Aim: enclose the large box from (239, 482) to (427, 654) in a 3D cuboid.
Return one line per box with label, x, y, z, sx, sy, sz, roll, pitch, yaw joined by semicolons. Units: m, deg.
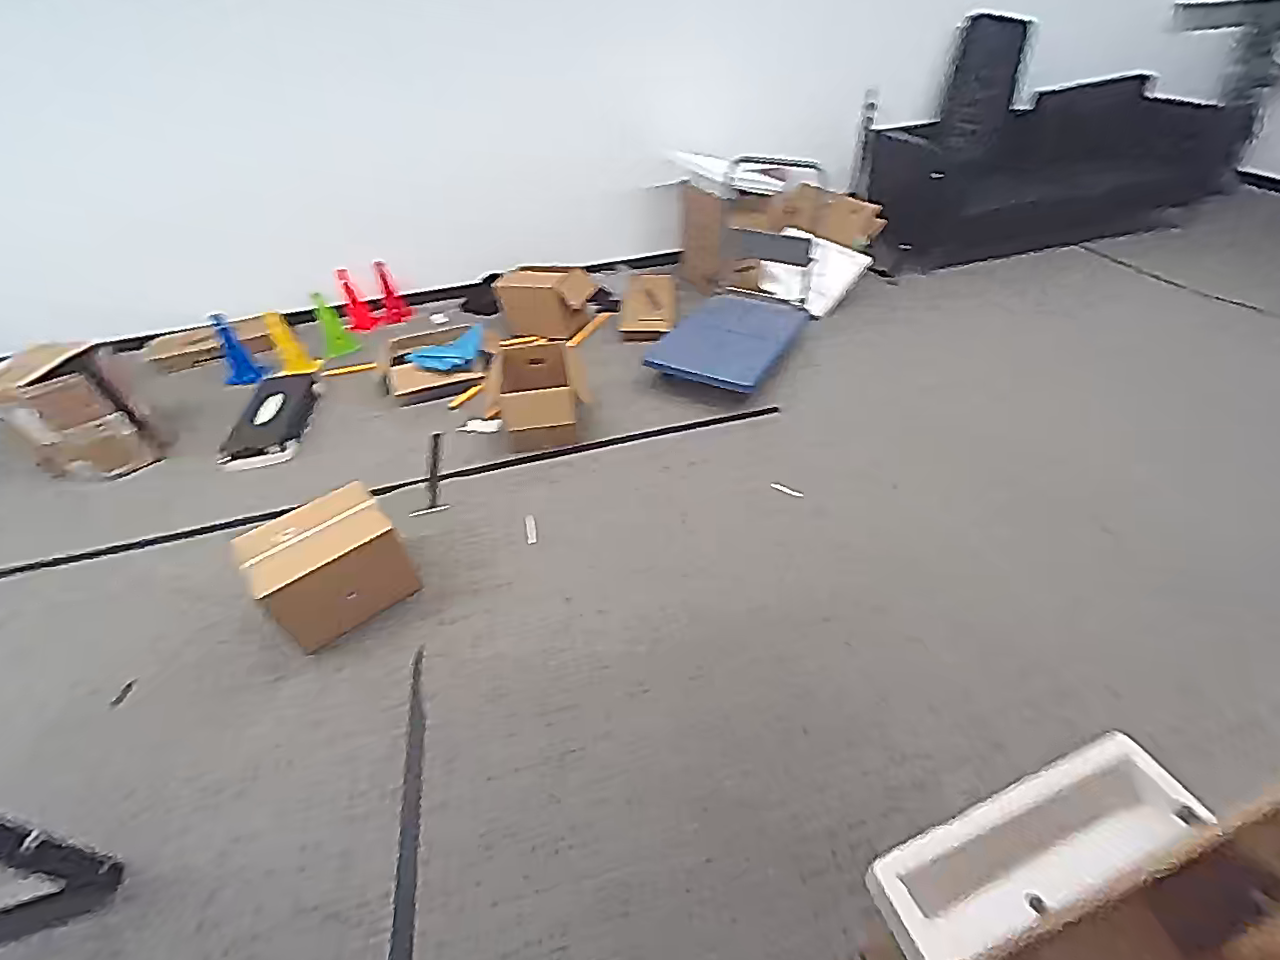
large box;-0.998;0.284;1.793;0.408;0.320;0.320;-33;48;-26
